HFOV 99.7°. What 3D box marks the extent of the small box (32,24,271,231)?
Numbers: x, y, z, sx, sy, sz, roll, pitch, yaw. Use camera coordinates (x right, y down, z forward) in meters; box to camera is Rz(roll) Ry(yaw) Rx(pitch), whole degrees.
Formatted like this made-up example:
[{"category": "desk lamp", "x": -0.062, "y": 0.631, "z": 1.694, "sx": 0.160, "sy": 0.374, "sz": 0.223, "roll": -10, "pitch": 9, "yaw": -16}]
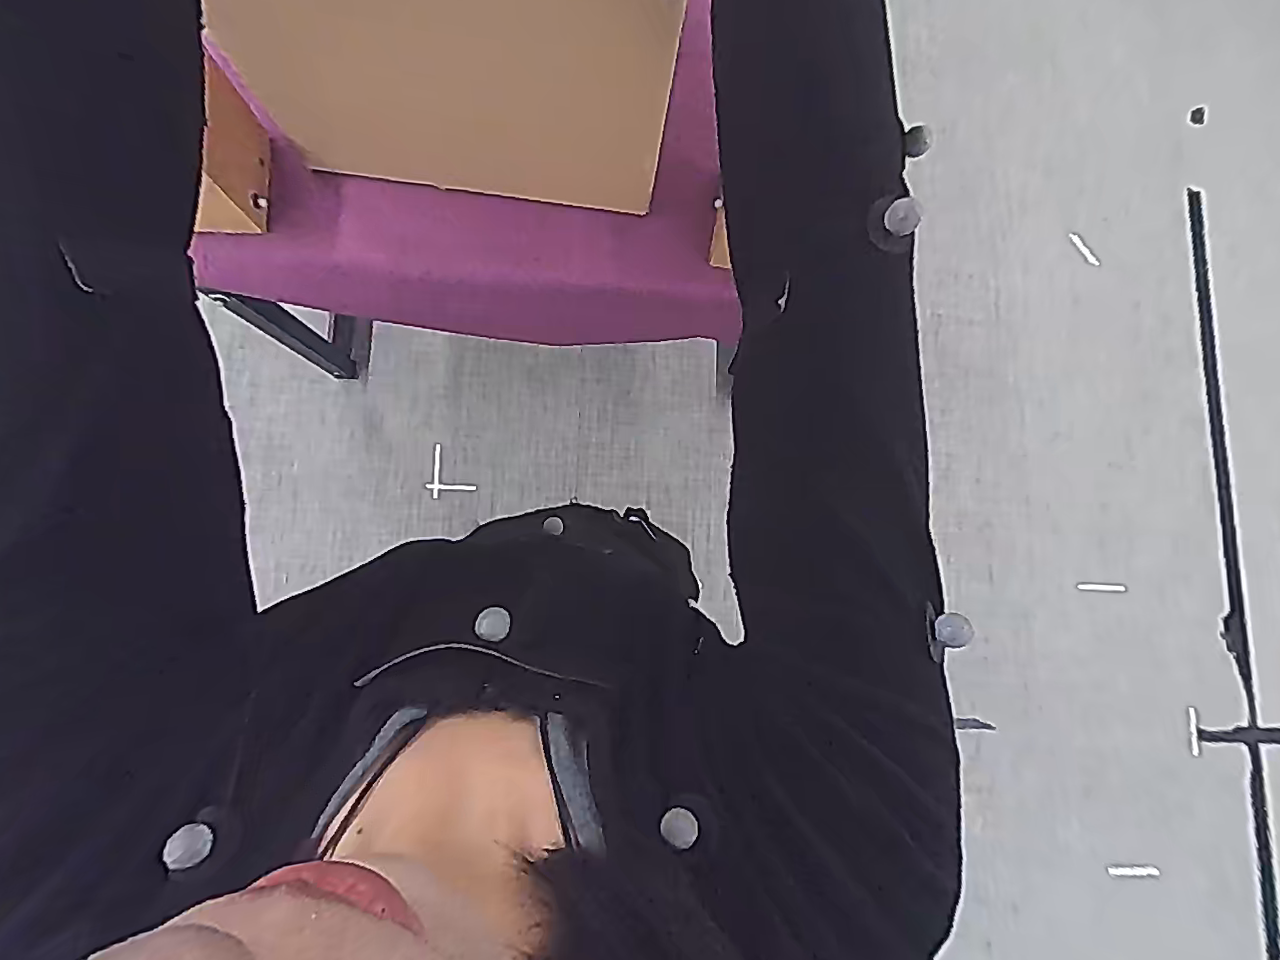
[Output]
[{"category": "small box", "x": -0.633, "y": -0.457, "z": 0.728, "sx": 0.179, "sy": 0.176, "sz": 0.168, "roll": -2, "pitch": 82, "yaw": -6}]
